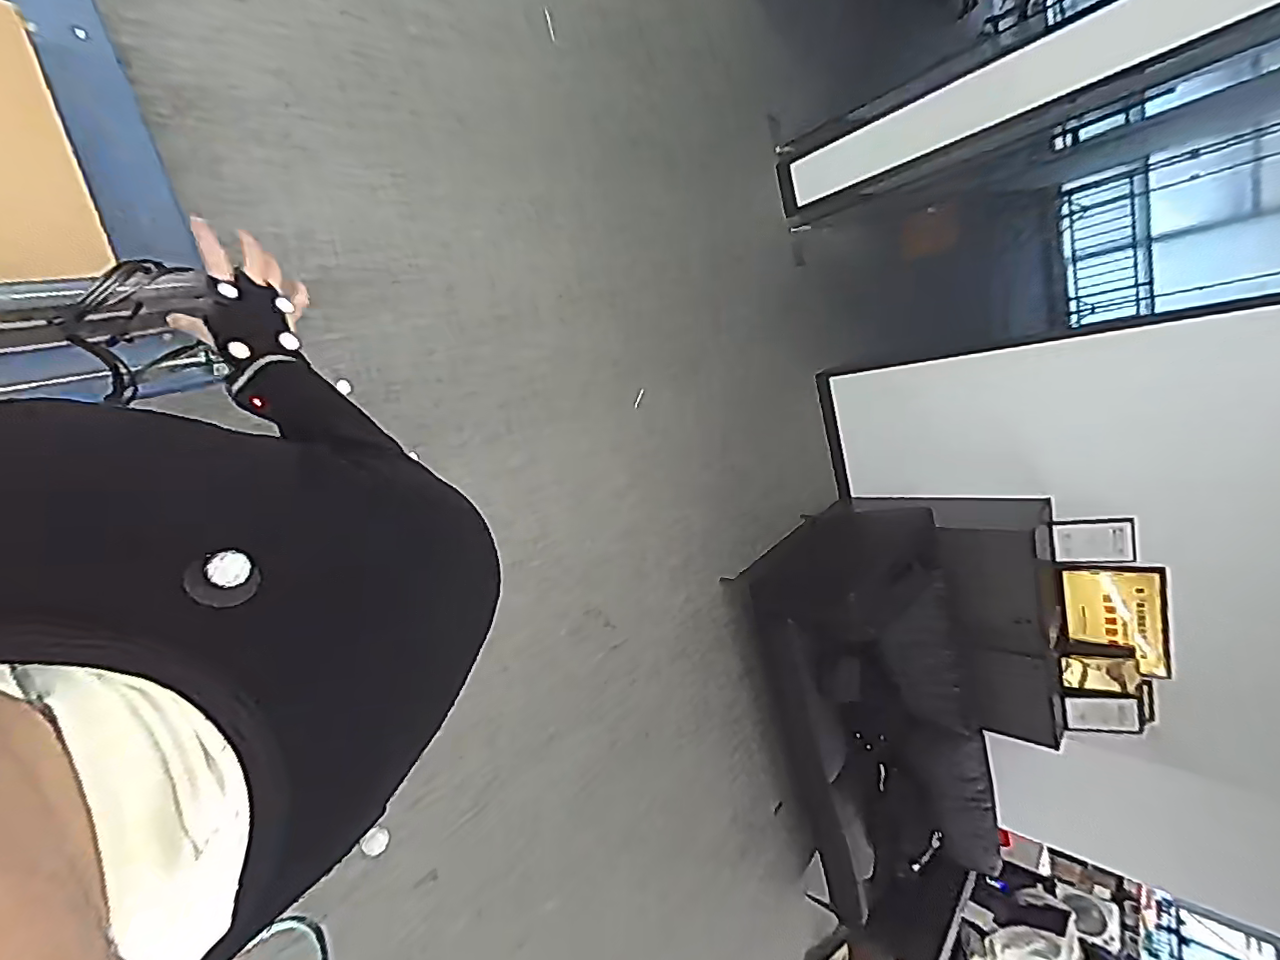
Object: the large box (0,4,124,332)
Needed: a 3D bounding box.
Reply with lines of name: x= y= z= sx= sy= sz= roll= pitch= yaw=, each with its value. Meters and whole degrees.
large box: x=-1.093 y=-0.464 z=0.847 sx=0.320 sy=0.320 sz=0.408 roll=-23 pitch=104 yaw=-41
